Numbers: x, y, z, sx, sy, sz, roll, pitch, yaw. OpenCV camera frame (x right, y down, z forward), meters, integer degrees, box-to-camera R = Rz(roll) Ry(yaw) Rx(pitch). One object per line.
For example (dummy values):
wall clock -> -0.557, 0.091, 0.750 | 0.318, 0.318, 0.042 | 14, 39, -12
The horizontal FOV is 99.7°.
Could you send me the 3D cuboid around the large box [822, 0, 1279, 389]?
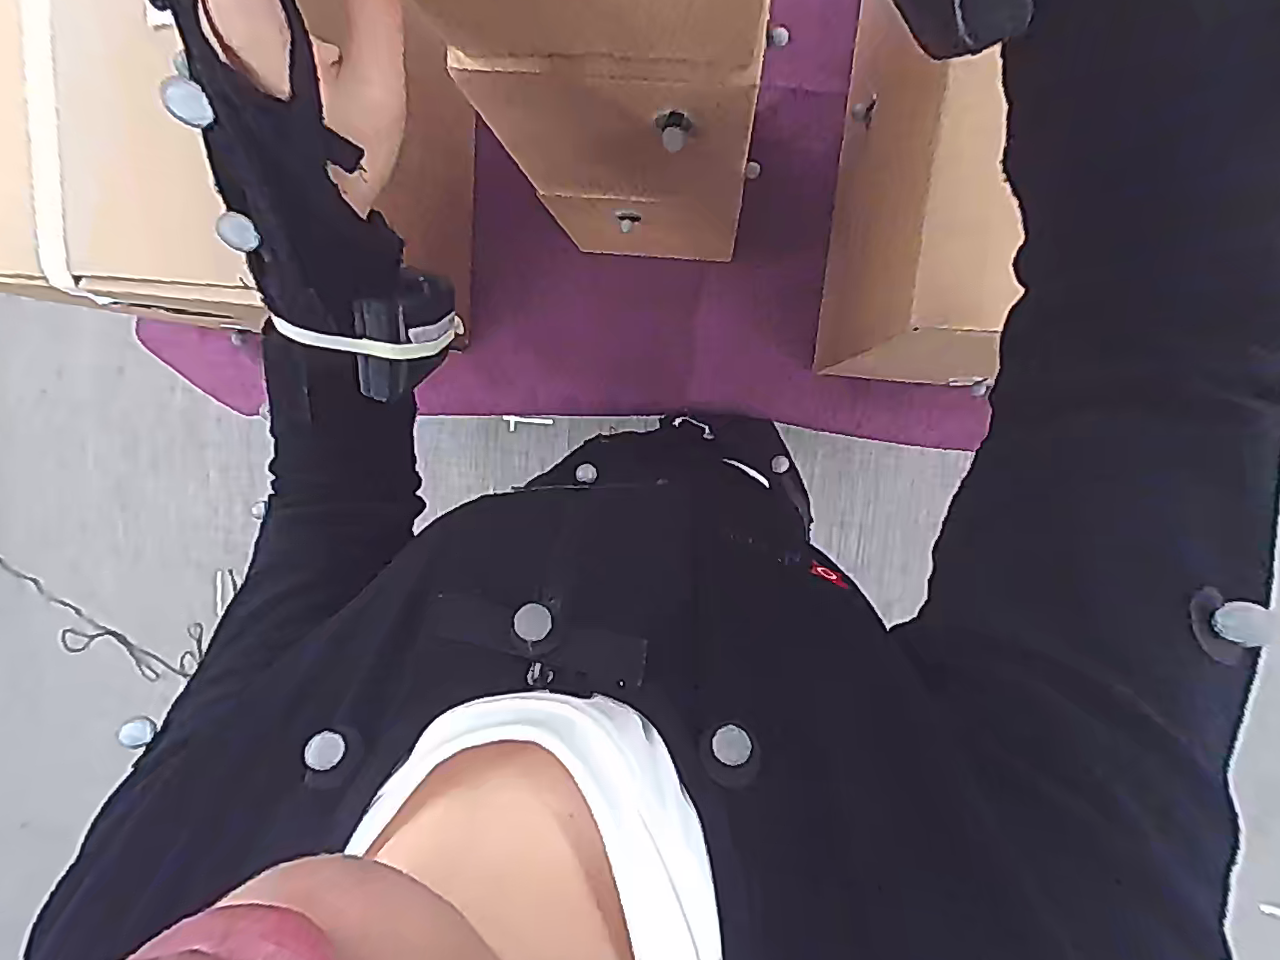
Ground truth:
large box -> 0.338, -0.285, 0.411 | 0.320, 0.320, 0.408 | 5, 96, 6
